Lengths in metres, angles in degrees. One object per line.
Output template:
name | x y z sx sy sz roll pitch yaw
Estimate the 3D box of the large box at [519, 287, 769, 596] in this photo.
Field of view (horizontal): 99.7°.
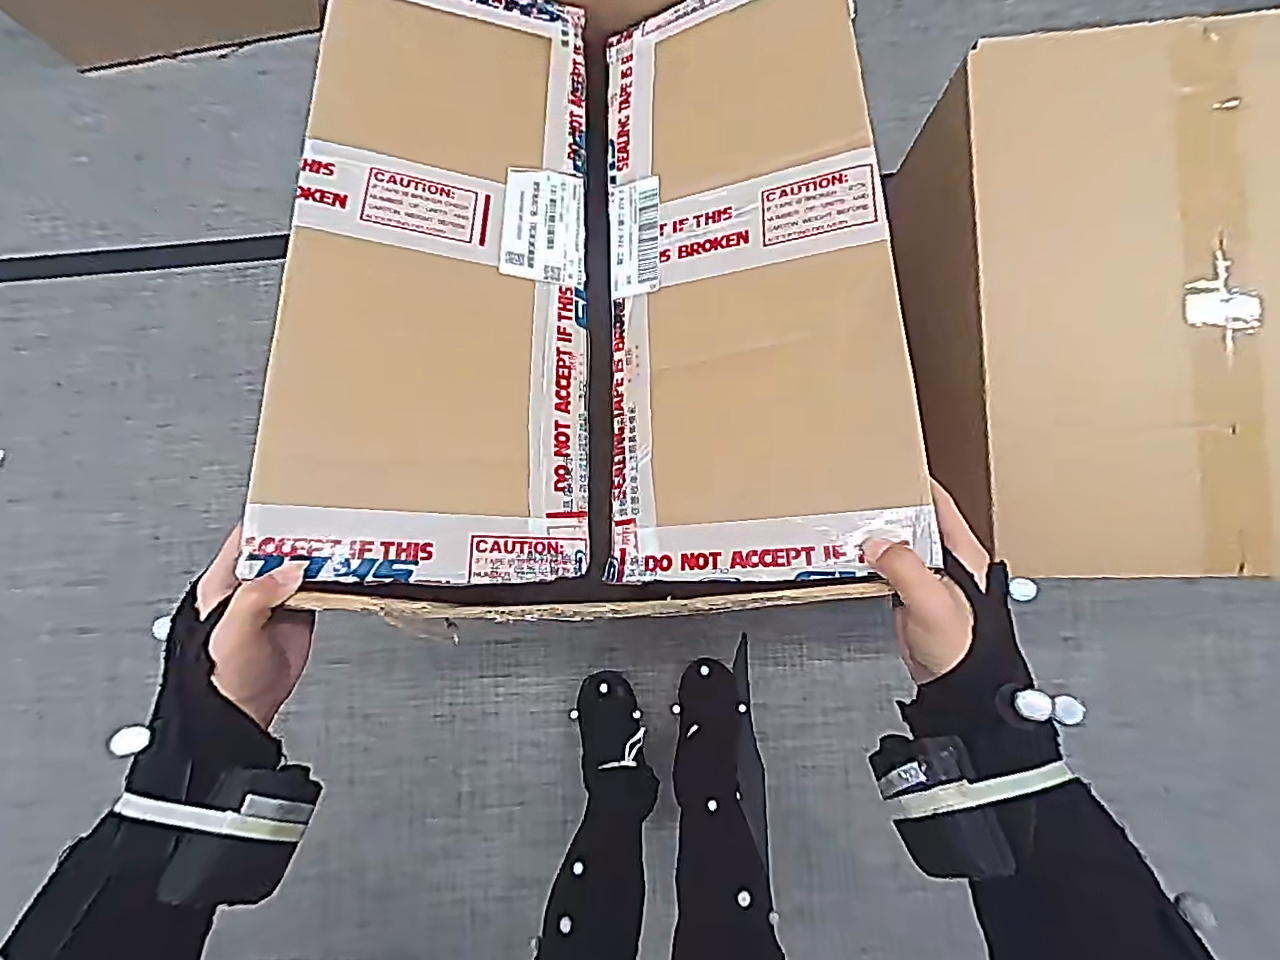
large box | 0.007 -0.048 0.876 0.320 0.320 0.408 -4 87 3
